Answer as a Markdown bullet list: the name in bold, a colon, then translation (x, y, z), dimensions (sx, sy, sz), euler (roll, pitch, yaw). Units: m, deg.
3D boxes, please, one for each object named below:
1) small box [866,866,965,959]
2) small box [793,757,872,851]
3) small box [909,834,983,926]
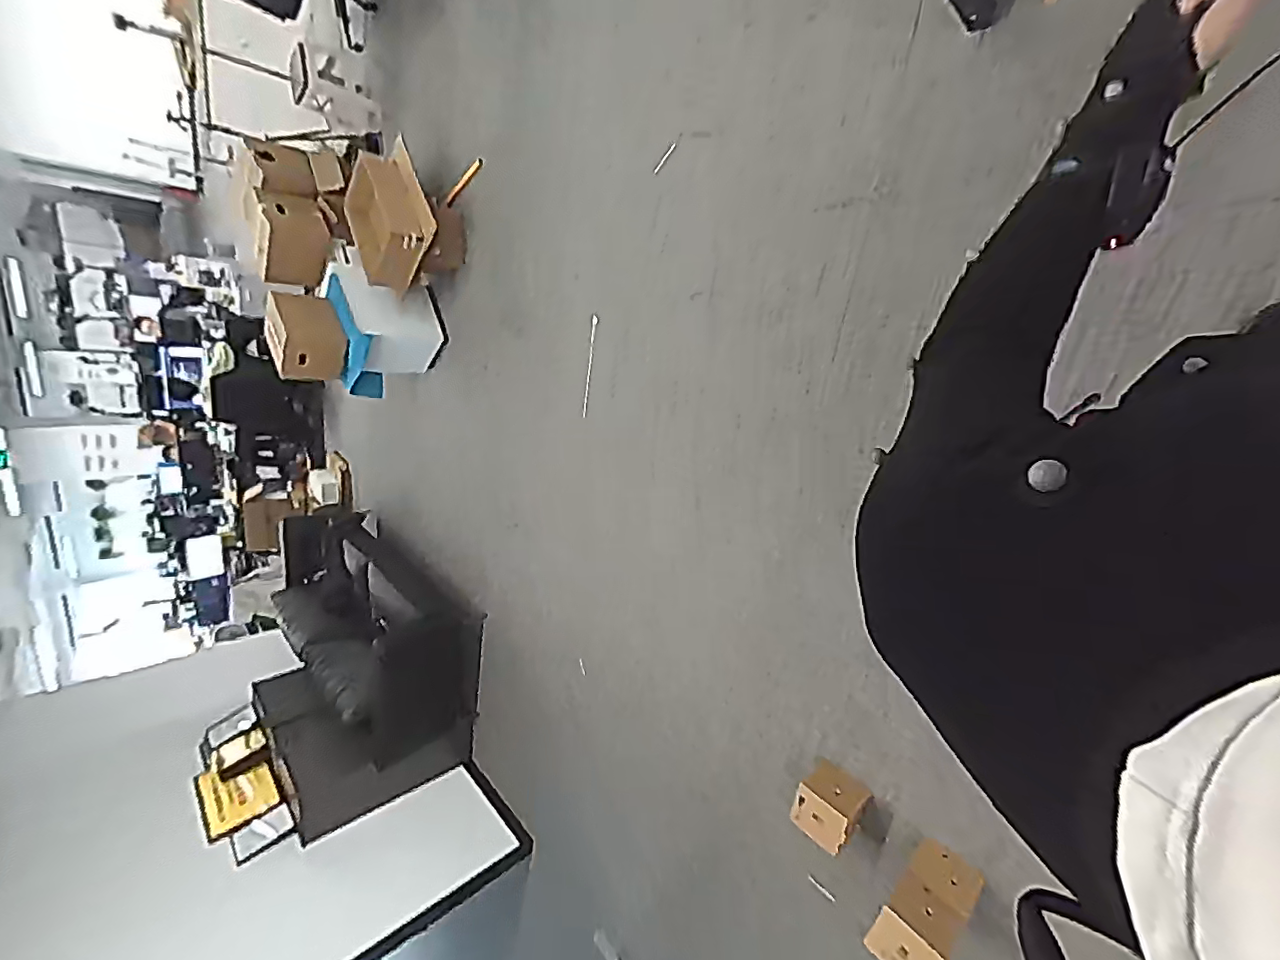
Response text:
- **small box**: translation (0.755, 1.213, 1.475), dimensions (0.168, 0.176, 0.179), euler (32, 119, 39)
- **small box**: translation (0.644, 1.071, 1.805), dimensions (0.179, 0.176, 0.168), euler (25, 114, 40)
- **small box**: translation (0.876, 1.195, 1.585), dimensions (0.168, 0.176, 0.179), euler (30, 118, 39)
